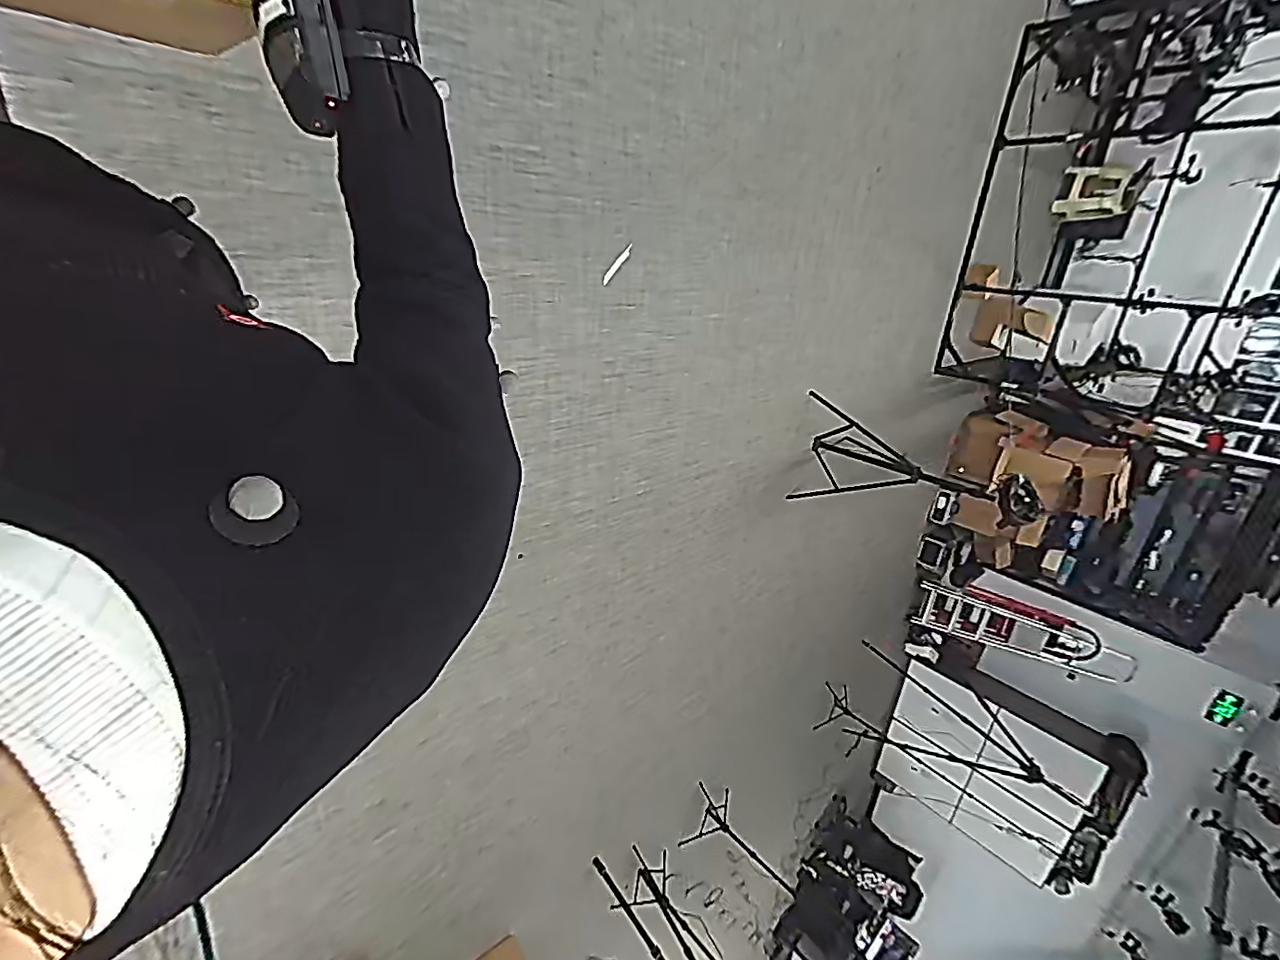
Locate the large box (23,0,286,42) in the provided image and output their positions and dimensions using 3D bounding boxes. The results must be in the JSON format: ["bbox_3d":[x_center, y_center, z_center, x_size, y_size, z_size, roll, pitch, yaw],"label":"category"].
[{"bbox_3d":[-0.446,-0.452,0.241,0.408,0.320,0.320,-16,127,-40],"label":"large box"}]
